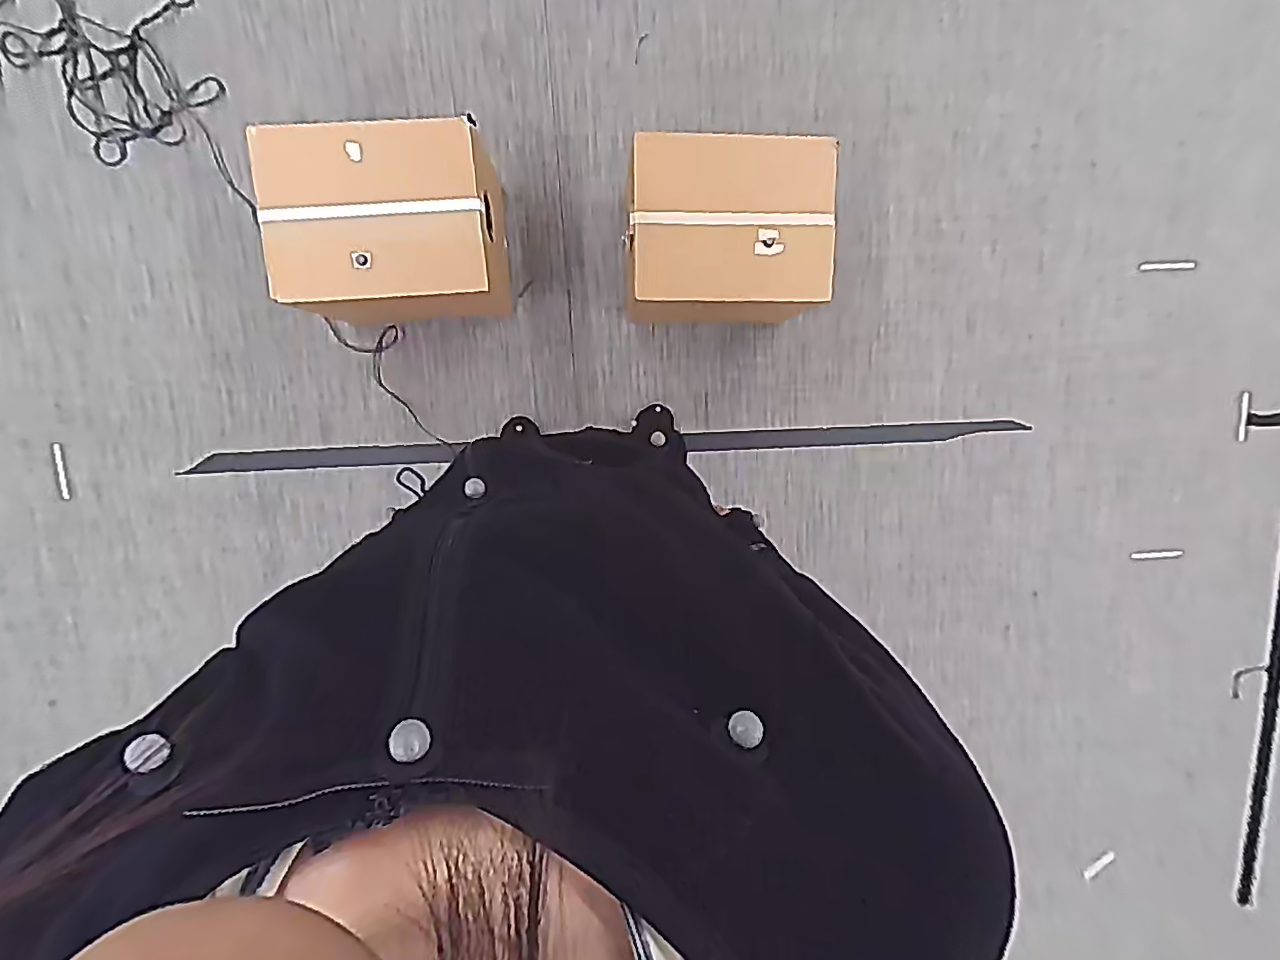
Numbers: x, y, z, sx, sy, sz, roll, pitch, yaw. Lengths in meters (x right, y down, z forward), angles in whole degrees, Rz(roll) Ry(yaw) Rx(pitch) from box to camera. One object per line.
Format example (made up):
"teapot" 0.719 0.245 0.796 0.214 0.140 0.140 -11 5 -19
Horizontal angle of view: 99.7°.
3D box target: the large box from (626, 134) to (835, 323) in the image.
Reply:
"large box" 0.178 -0.538 1.222 0.408 0.320 0.320 -1 99 -5
